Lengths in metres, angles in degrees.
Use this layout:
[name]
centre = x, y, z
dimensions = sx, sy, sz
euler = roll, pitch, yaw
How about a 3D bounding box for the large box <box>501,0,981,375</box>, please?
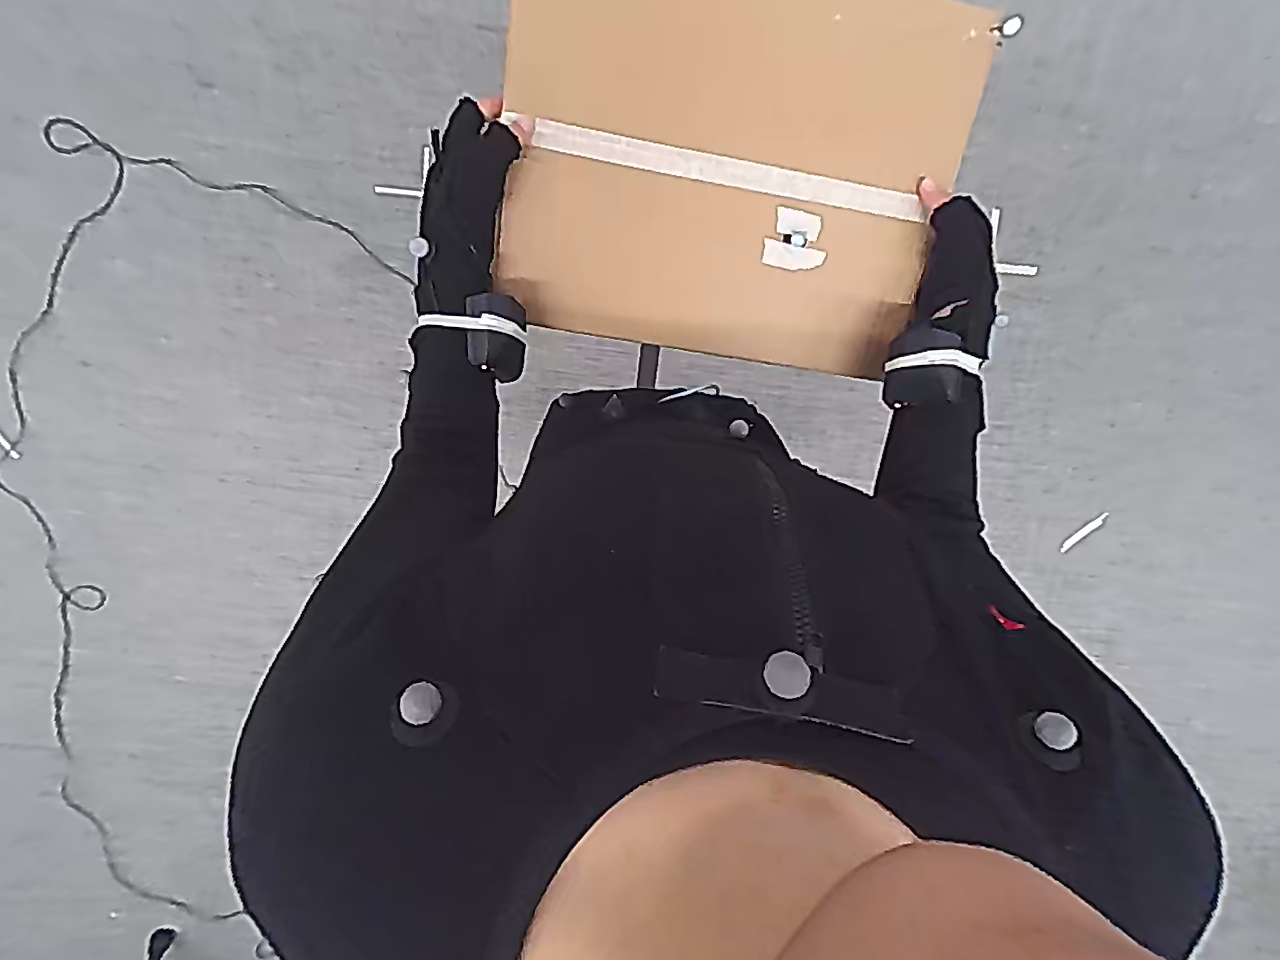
[large box]
centre = 0.068, -0.321, 0.631
dimensions = 0.408, 0.320, 0.320
euler = 7, 109, -8
